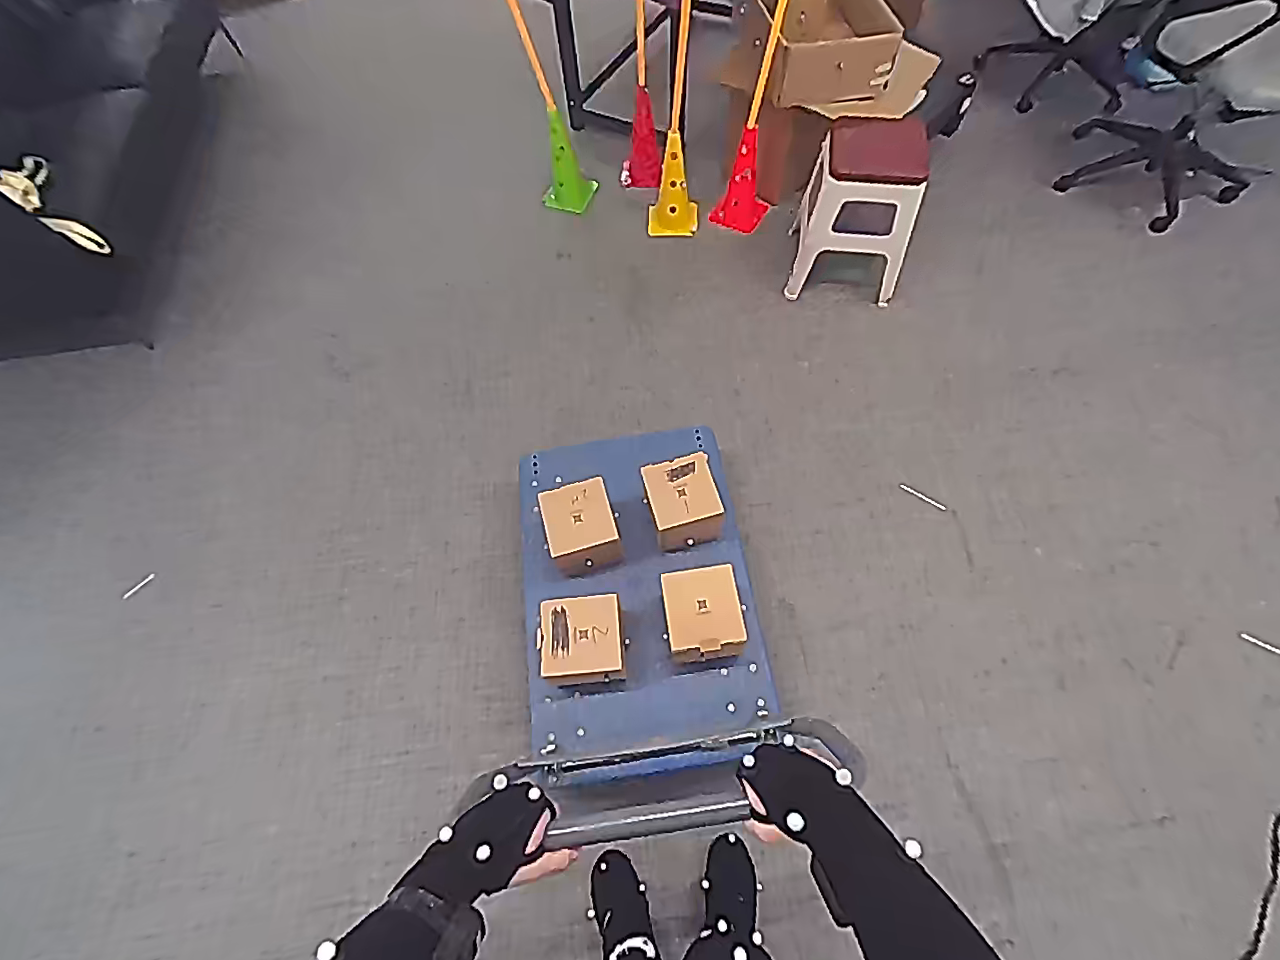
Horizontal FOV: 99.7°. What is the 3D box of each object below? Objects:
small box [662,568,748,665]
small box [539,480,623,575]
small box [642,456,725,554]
[{"bbox_3d":[0.143,0.321,1.260,0.168,0.176,0.179,-8,64,-1],"label":"small box"},{"bbox_3d":[-0.145,0.130,1.371,0.168,0.176,0.179,-15,64,-5],"label":"small box"},{"bbox_3d":[0.107,0.068,1.386,0.168,0.176,0.179,-15,64,-3],"label":"small box"}]
